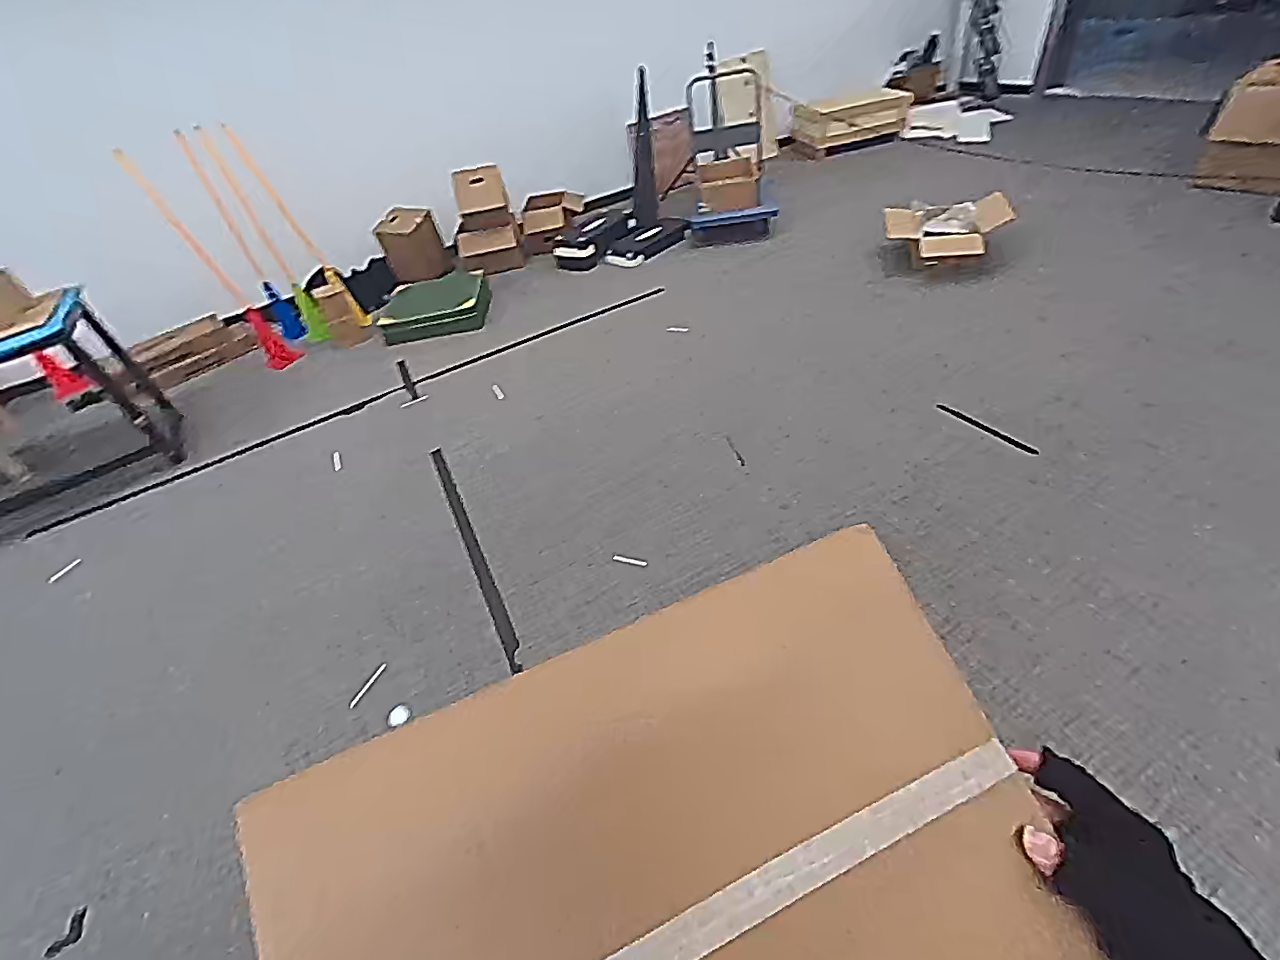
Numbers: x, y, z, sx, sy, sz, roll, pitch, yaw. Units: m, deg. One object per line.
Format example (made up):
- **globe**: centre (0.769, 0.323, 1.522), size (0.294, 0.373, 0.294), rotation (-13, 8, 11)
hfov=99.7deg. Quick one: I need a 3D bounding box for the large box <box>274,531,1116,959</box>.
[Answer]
- **large box**: centre (0.025, 0.292, 0.434), size (0.408, 0.320, 0.320), rotation (-22, 73, -11)
